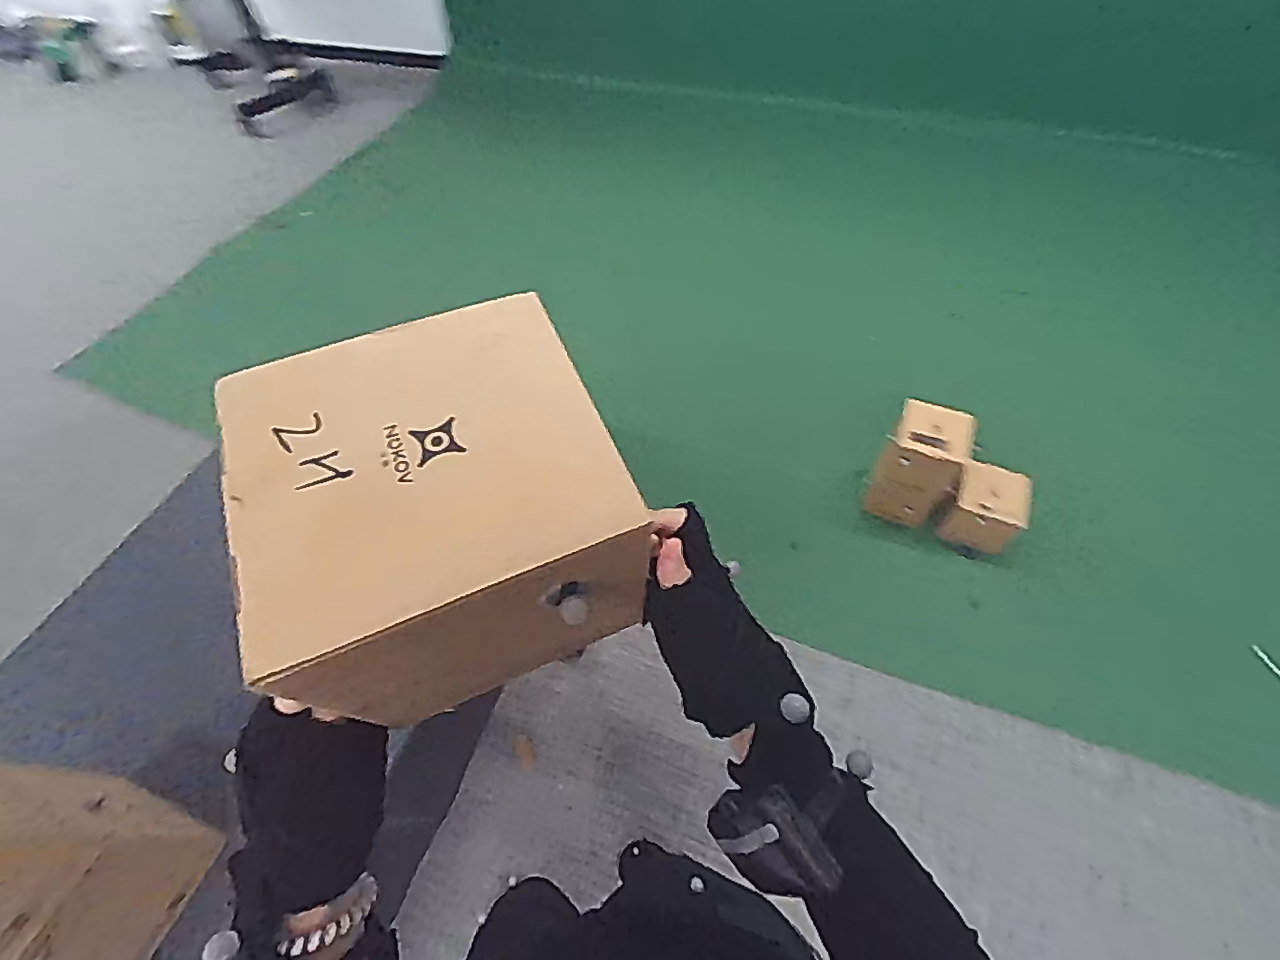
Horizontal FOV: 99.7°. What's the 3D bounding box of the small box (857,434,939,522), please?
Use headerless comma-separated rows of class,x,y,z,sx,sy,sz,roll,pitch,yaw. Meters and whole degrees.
small box,0.765,-0.001,1.618,0.168,0.176,0.179,20,60,16

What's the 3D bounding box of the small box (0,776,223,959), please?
small box,-0.590,0.424,0.548,0.179,0.176,0.168,15,58,14

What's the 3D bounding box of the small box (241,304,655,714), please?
small box,-0.105,0.027,0.342,0.179,0.176,0.168,-21,62,-12
